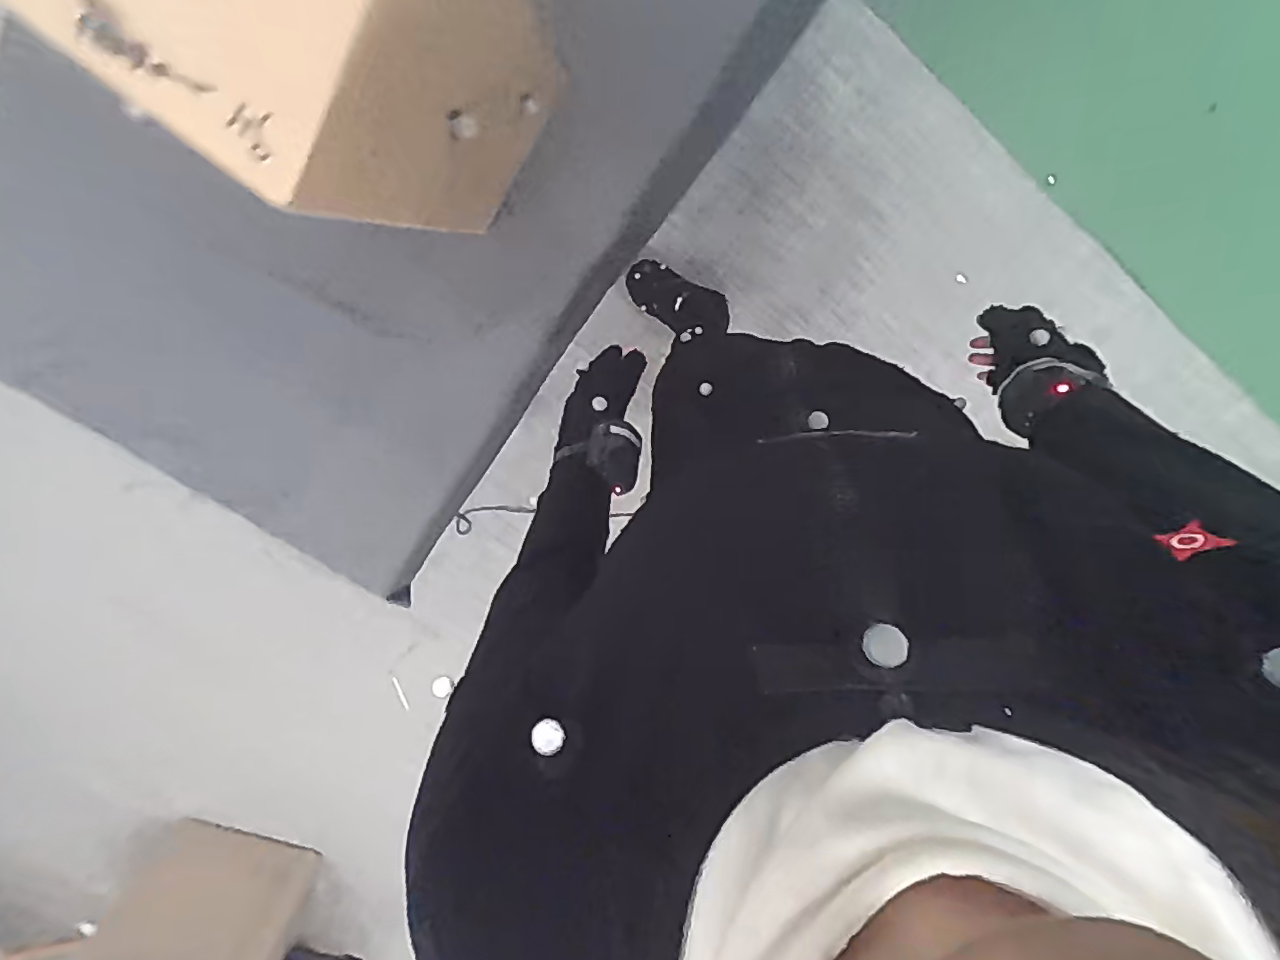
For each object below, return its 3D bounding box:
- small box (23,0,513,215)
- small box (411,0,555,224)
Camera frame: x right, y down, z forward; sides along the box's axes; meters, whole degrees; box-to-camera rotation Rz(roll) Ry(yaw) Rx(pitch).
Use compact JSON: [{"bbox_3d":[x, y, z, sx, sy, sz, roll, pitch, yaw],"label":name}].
[{"bbox_3d":[-0.196,-0.291,0.324,0.168,0.176,0.179,36,110,-10],"label":"small box"},{"bbox_3d":[-0.191,-0.354,0.476,0.168,0.176,0.179,34,112,-10],"label":"small box"}]
